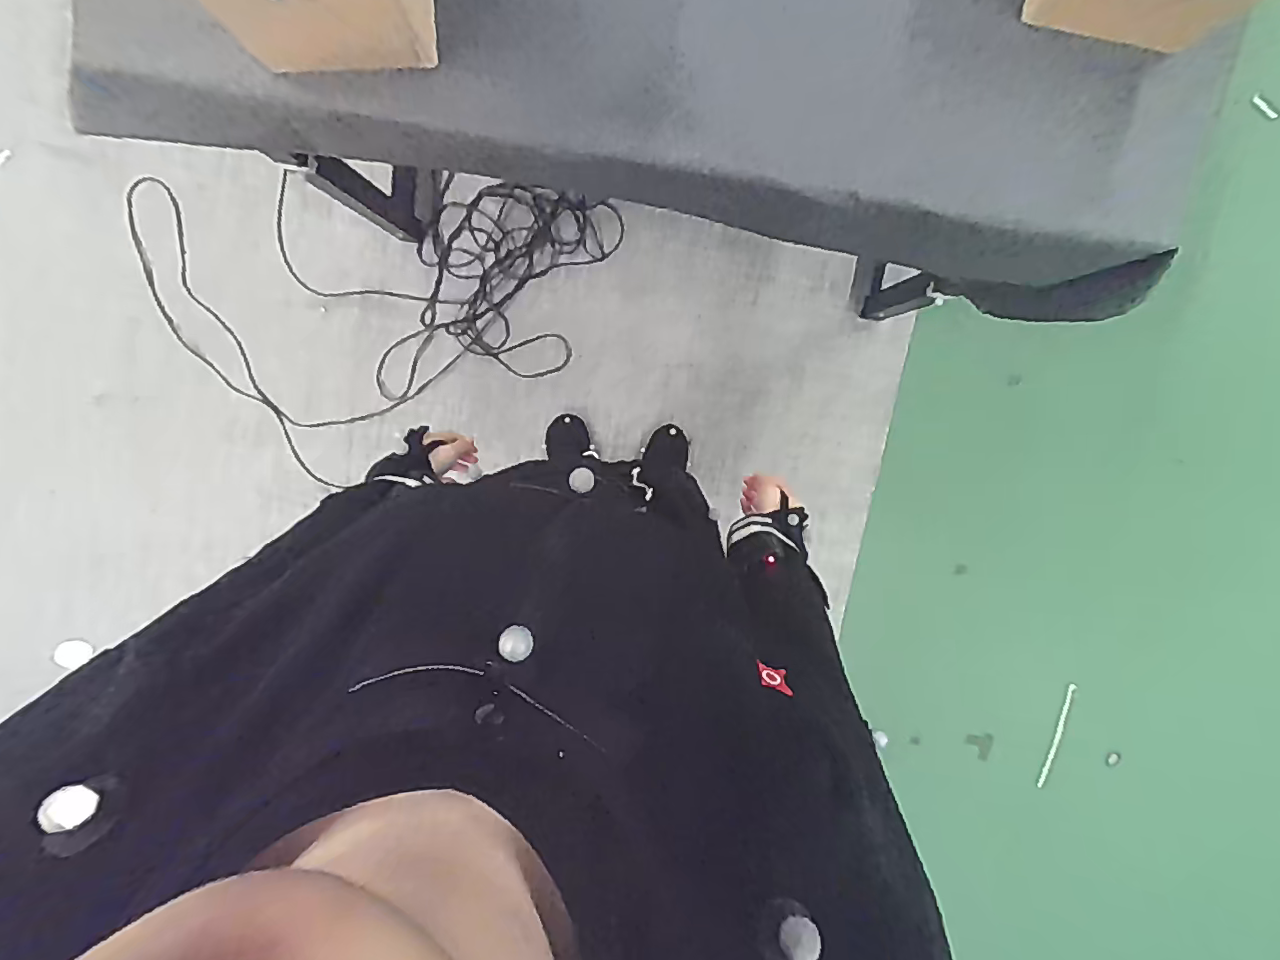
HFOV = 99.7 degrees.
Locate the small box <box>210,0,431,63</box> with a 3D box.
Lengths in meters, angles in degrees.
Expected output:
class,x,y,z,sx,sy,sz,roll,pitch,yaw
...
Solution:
class,x,y,z,sx,sy,sz,roll,pitch,yaw
small box,-0.295,-0.501,0.470,0.179,0.176,0.168,-1,98,0
